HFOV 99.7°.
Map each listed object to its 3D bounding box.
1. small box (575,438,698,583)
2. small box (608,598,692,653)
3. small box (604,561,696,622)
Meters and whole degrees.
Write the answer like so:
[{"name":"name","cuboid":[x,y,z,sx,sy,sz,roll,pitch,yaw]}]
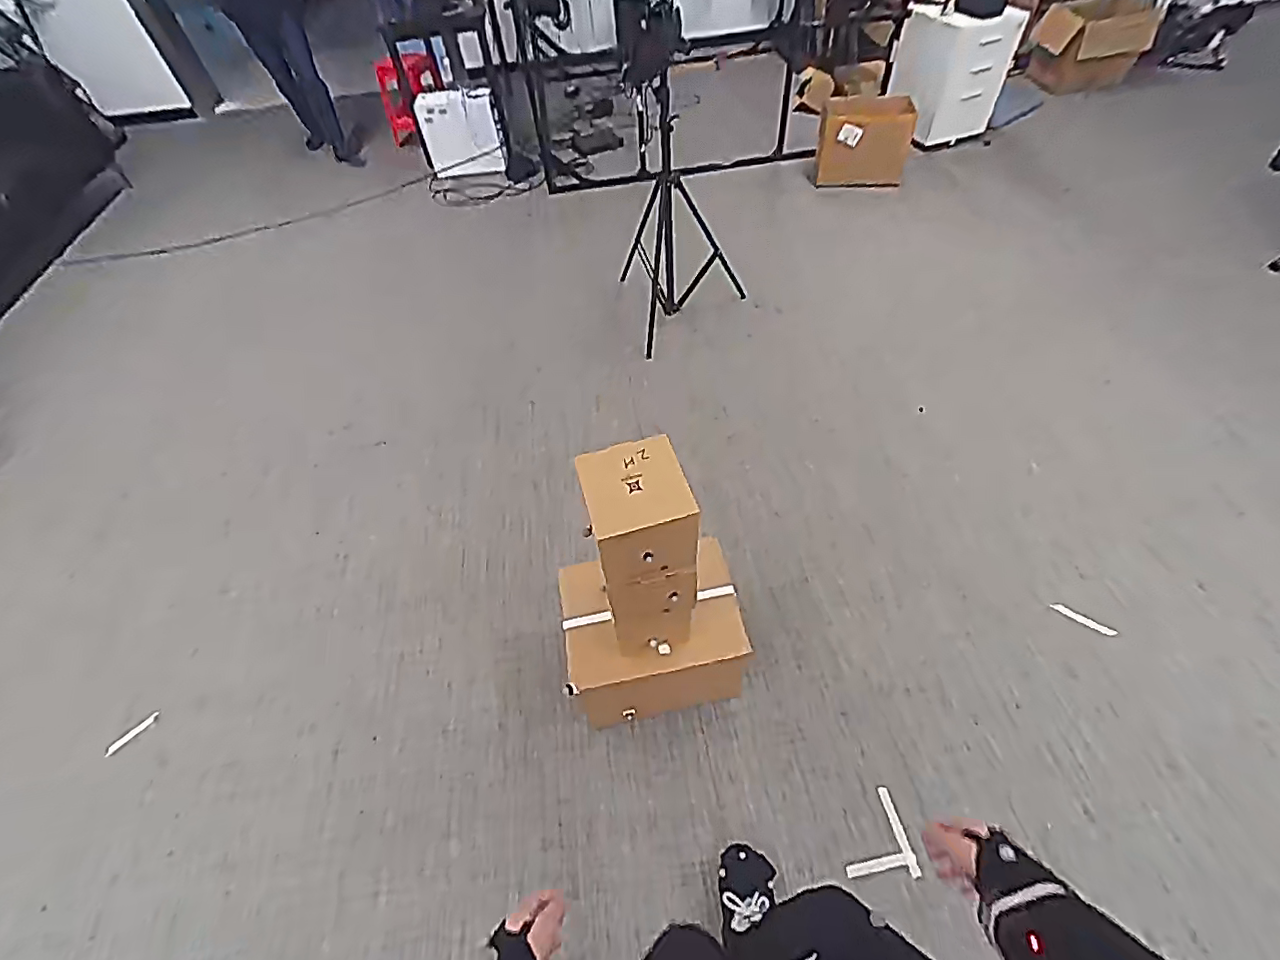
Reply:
[{"name":"small box","cuboid":[-0.005,0.061,0.932,0.168,0.176,0.179,-14,53,-8]},{"name":"small box","cuboid":[0.015,0.258,1.192,0.168,0.176,0.179,-11,53,-3]},{"name":"small box","cuboid":[0.010,0.163,1.061,0.168,0.176,0.179,-11,52,-5]}]
